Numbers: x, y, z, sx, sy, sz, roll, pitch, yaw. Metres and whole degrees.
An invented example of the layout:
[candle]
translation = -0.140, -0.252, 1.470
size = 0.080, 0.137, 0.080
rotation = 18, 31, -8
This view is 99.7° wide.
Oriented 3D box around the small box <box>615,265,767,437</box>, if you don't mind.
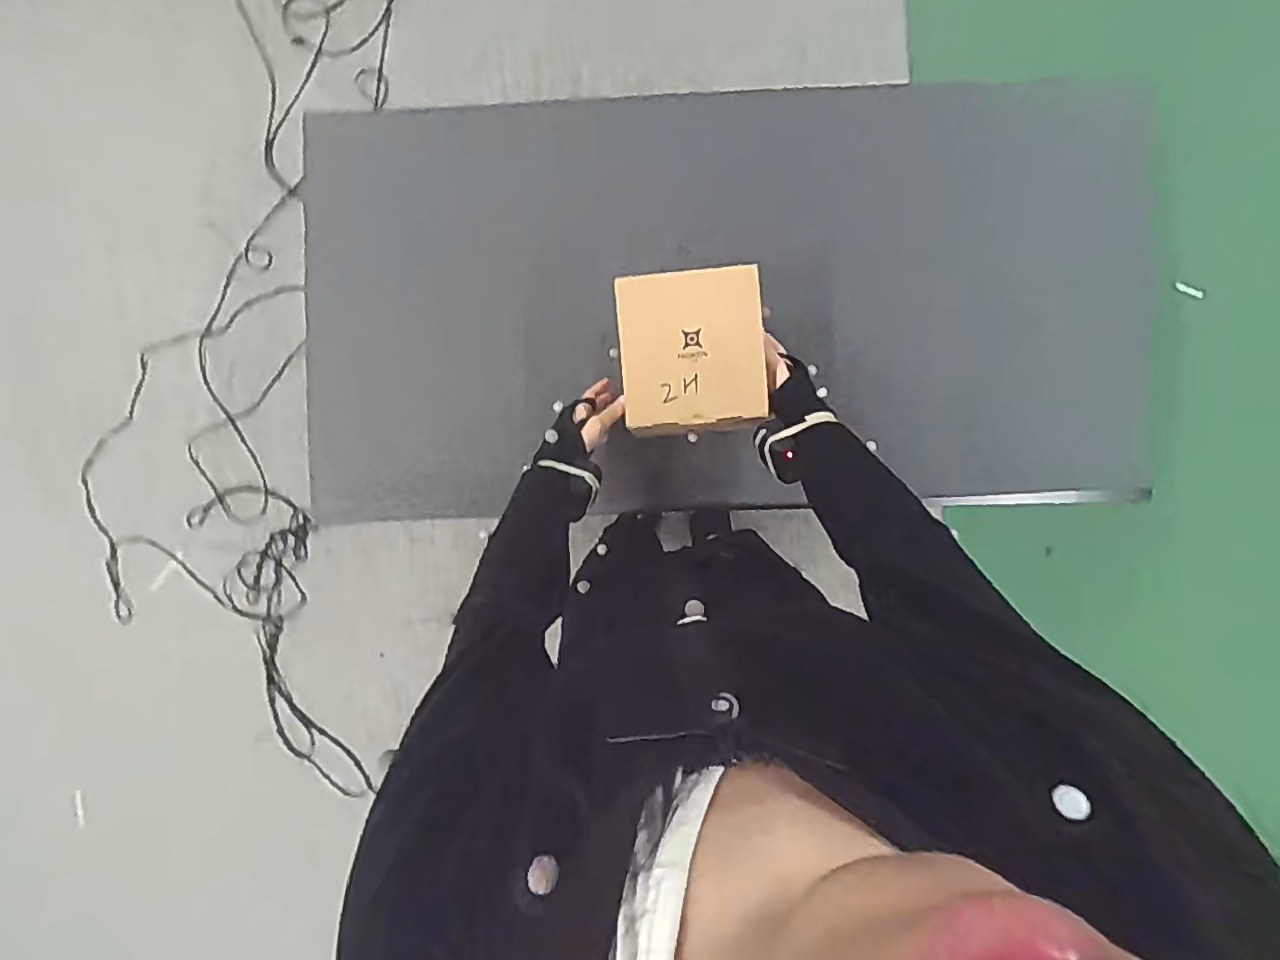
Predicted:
[small box]
translation = 0.061, -0.154, 0.701
size = 0.168, 0.176, 0.179
rotation = -6, 91, 3
